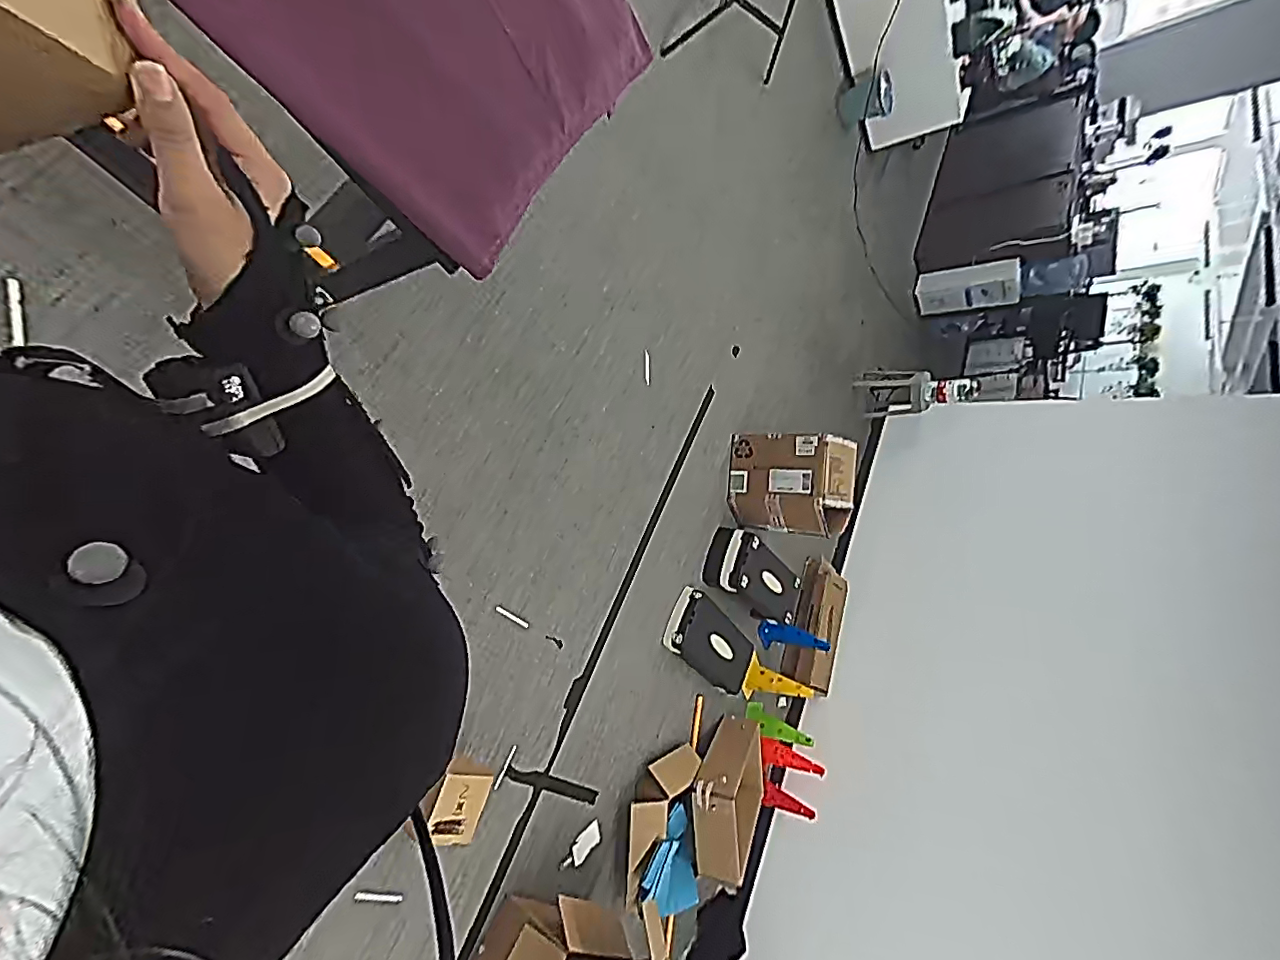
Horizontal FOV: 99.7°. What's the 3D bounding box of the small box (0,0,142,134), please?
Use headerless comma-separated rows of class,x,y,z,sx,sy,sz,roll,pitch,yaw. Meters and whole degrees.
small box,-0.330,-0.242,0.174,0.168,0.179,0.176,-43,124,-82
